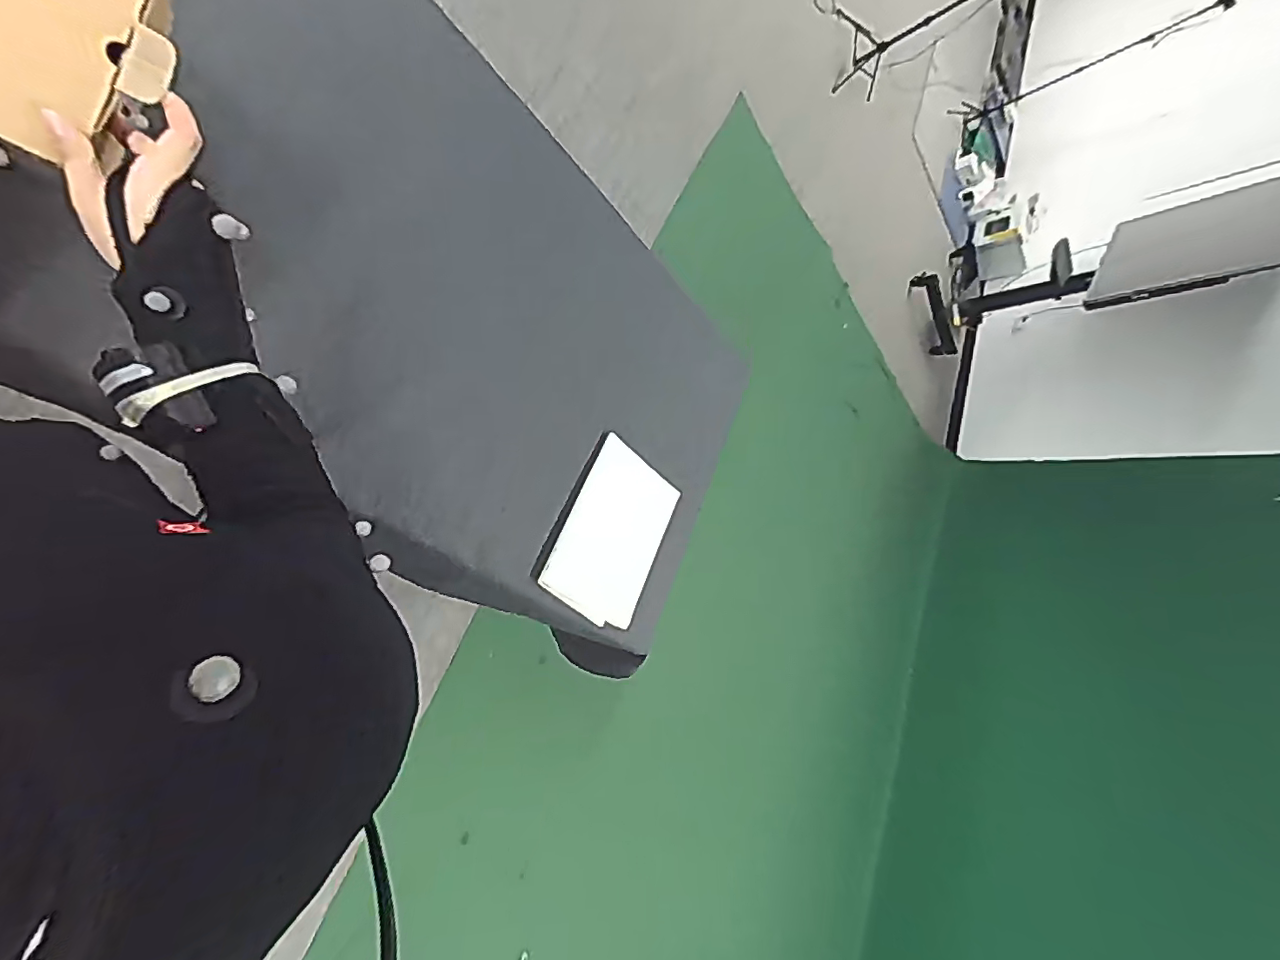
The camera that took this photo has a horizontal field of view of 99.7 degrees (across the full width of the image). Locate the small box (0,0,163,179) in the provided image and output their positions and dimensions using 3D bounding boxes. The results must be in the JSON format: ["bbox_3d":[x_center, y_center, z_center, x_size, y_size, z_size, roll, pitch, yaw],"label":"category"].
[{"bbox_3d":[-0.439,-0.321,0.341,0.179,0.176,0.168,21,90,-46],"label":"small box"}]
